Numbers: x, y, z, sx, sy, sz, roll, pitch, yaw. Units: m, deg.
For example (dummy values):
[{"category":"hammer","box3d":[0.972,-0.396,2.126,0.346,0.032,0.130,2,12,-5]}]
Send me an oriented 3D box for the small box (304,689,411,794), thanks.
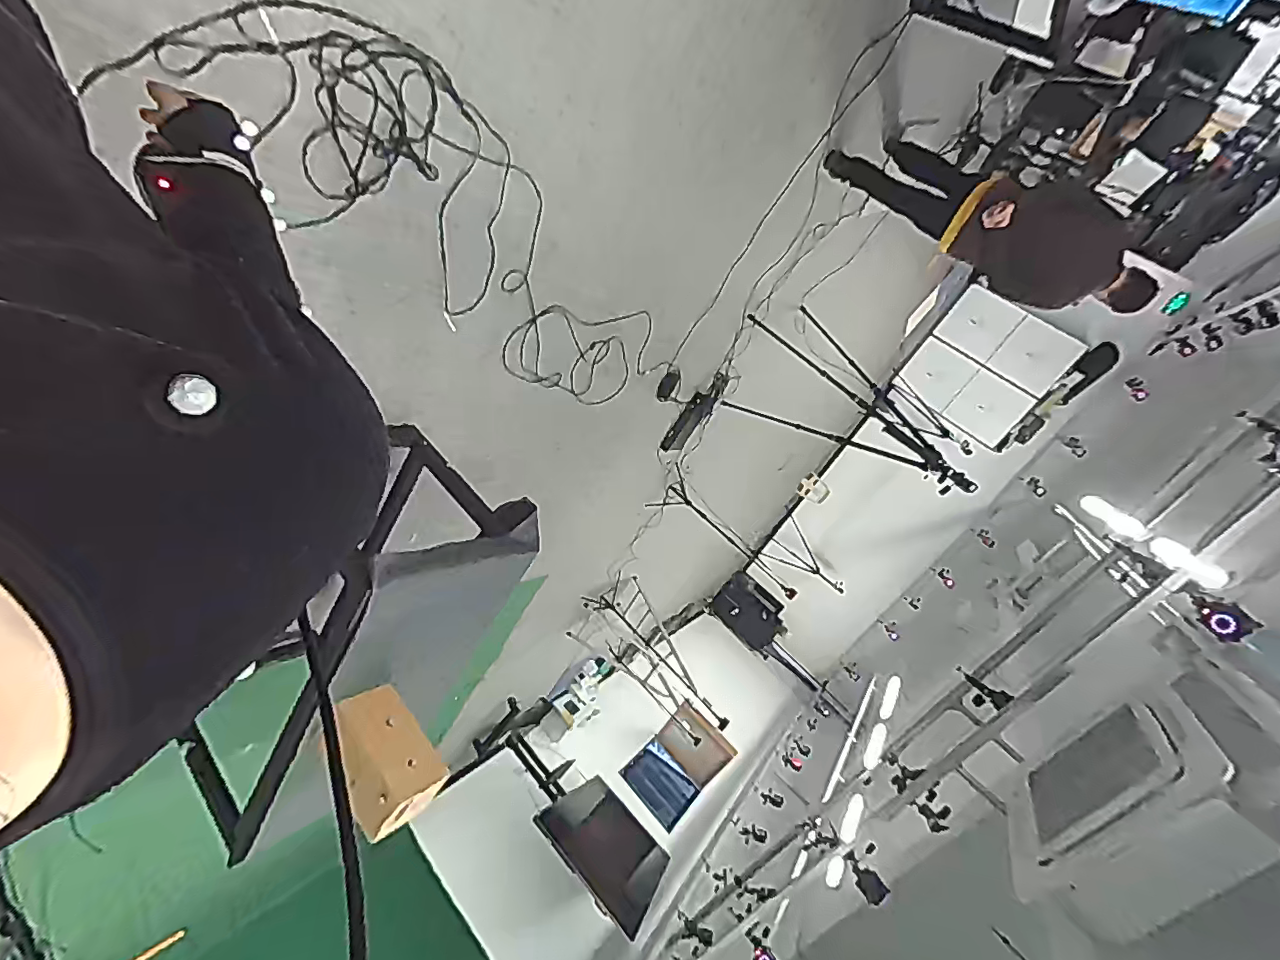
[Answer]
[{"category":"small box","box3d":[-0.791,0.721,1.516,0.168,0.176,0.179,-54,158,15]}]
